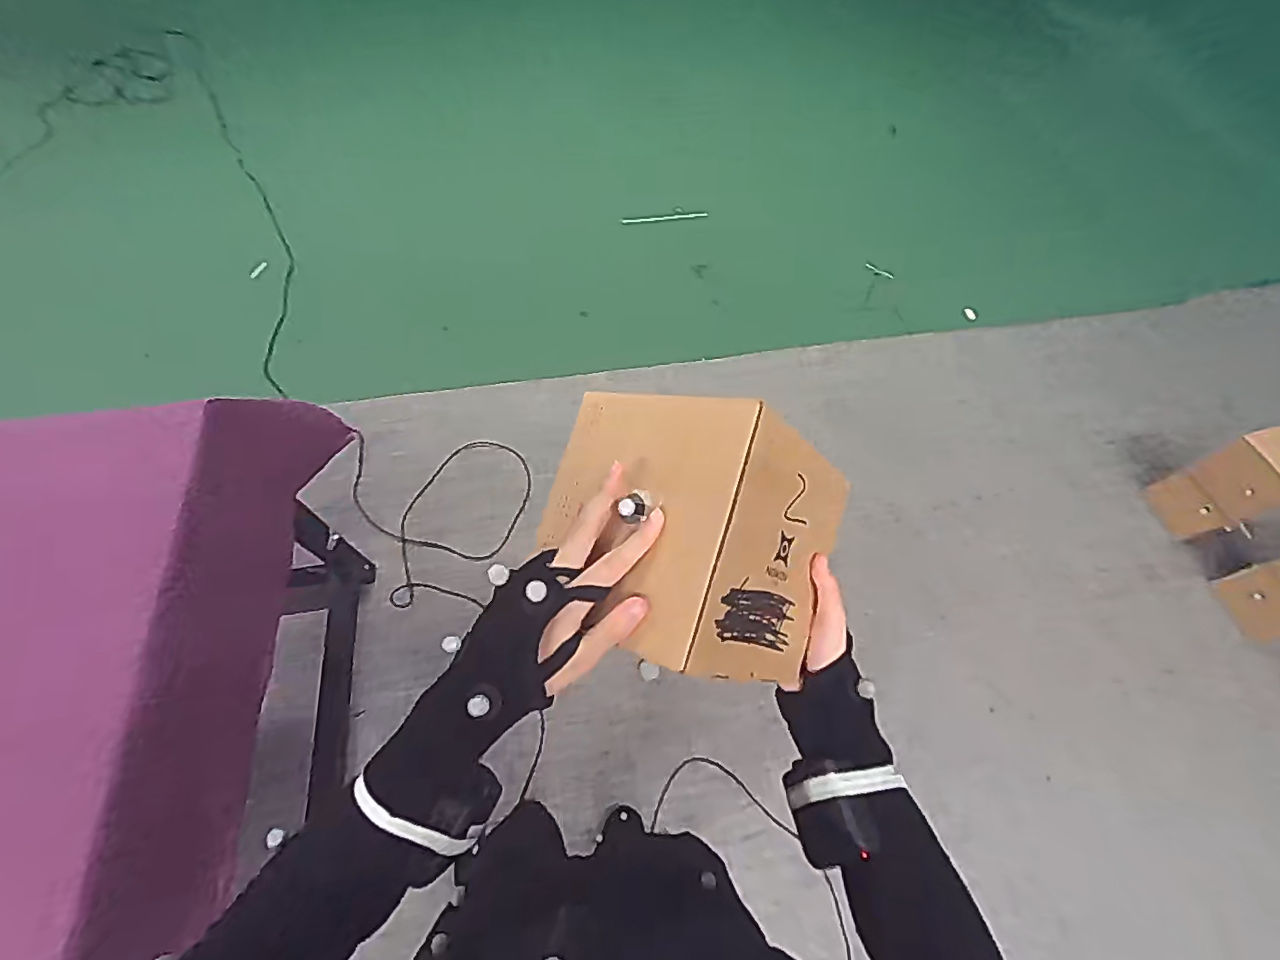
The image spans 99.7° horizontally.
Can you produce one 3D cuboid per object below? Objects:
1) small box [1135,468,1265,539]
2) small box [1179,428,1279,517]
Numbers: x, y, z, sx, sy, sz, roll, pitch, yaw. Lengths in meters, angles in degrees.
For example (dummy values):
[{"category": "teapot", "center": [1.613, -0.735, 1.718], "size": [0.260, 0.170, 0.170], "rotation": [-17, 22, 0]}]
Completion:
[{"category": "small box", "center": [1.665, 0.065, 1.617], "size": [0.168, 0.176, 0.179], "rotation": [-12, 61, -8]}, {"category": "small box", "center": [1.659, -0.012, 1.472], "size": [0.168, 0.176, 0.179], "rotation": [-11, 60, -8]}]
